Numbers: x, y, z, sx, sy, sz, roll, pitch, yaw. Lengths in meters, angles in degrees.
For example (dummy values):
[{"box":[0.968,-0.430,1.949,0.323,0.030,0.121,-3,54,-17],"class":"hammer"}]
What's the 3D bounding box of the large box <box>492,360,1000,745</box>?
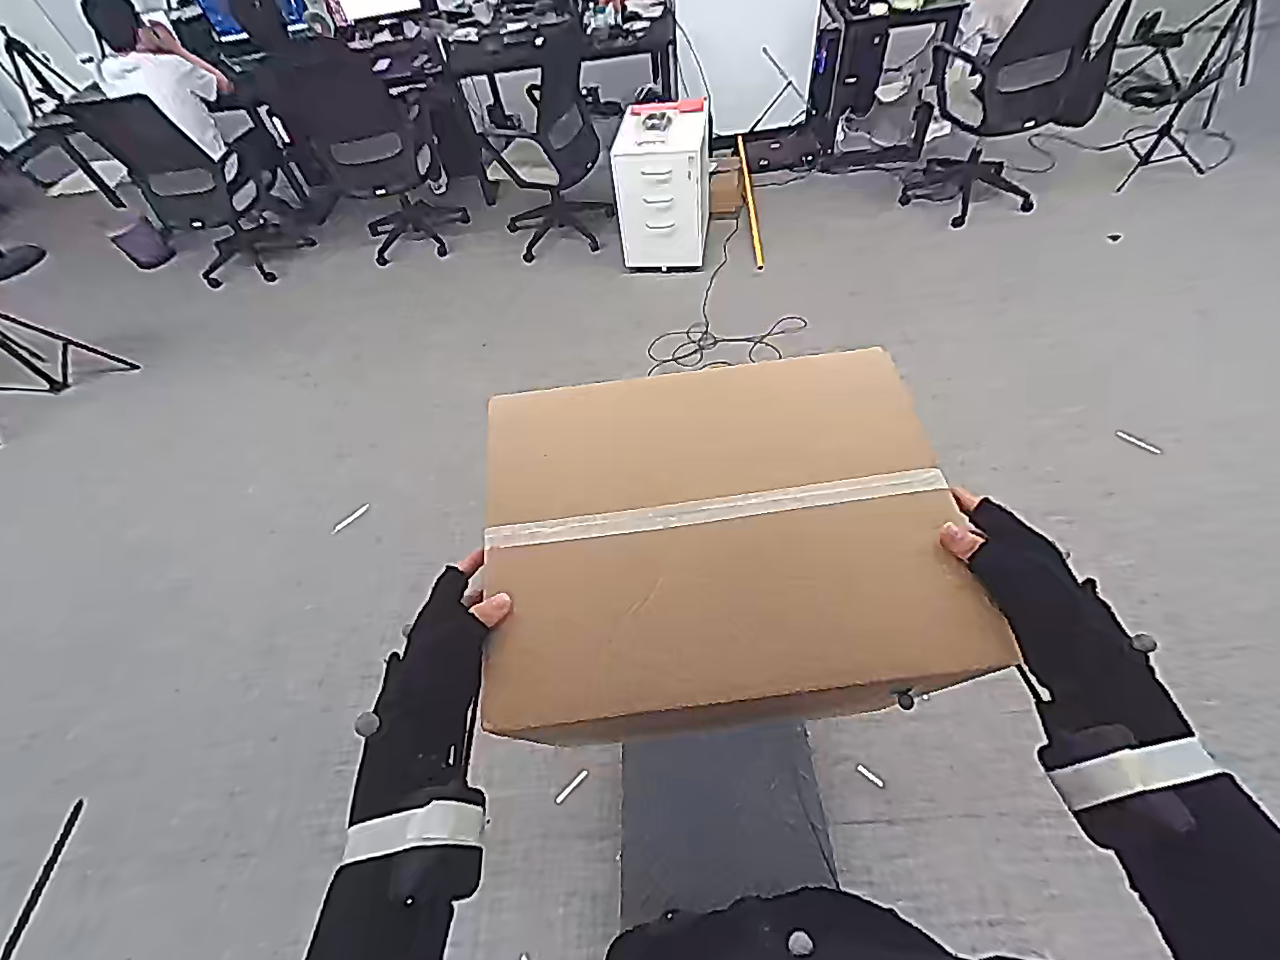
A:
[{"box":[0.075,0.104,0.614,0.408,0.320,0.320,-7,61,0],"class":"large box"}]
